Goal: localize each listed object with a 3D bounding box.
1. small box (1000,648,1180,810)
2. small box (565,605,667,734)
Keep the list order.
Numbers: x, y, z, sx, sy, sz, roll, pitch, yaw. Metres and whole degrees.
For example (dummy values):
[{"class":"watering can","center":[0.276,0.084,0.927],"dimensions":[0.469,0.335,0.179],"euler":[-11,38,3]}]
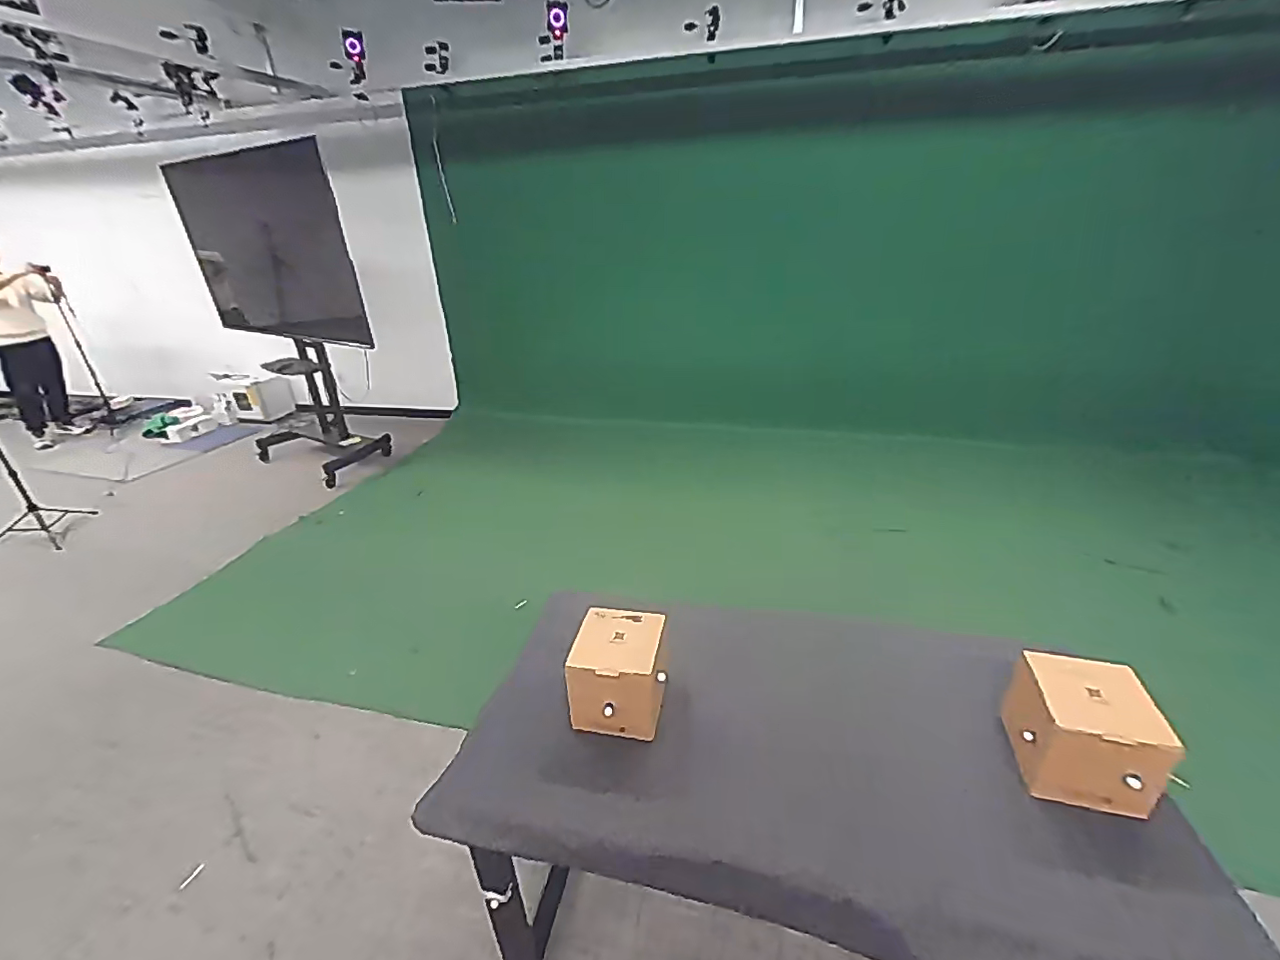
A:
[{"class":"small box","center":[0.750,0.422,0.925],"dimensions":[0.168,0.176,0.179],"euler":[6,26,15]},{"class":"small box","center":[-0.039,0.381,1.093],"dimensions":[0.168,0.176,0.179],"euler":[4,27,11]}]
